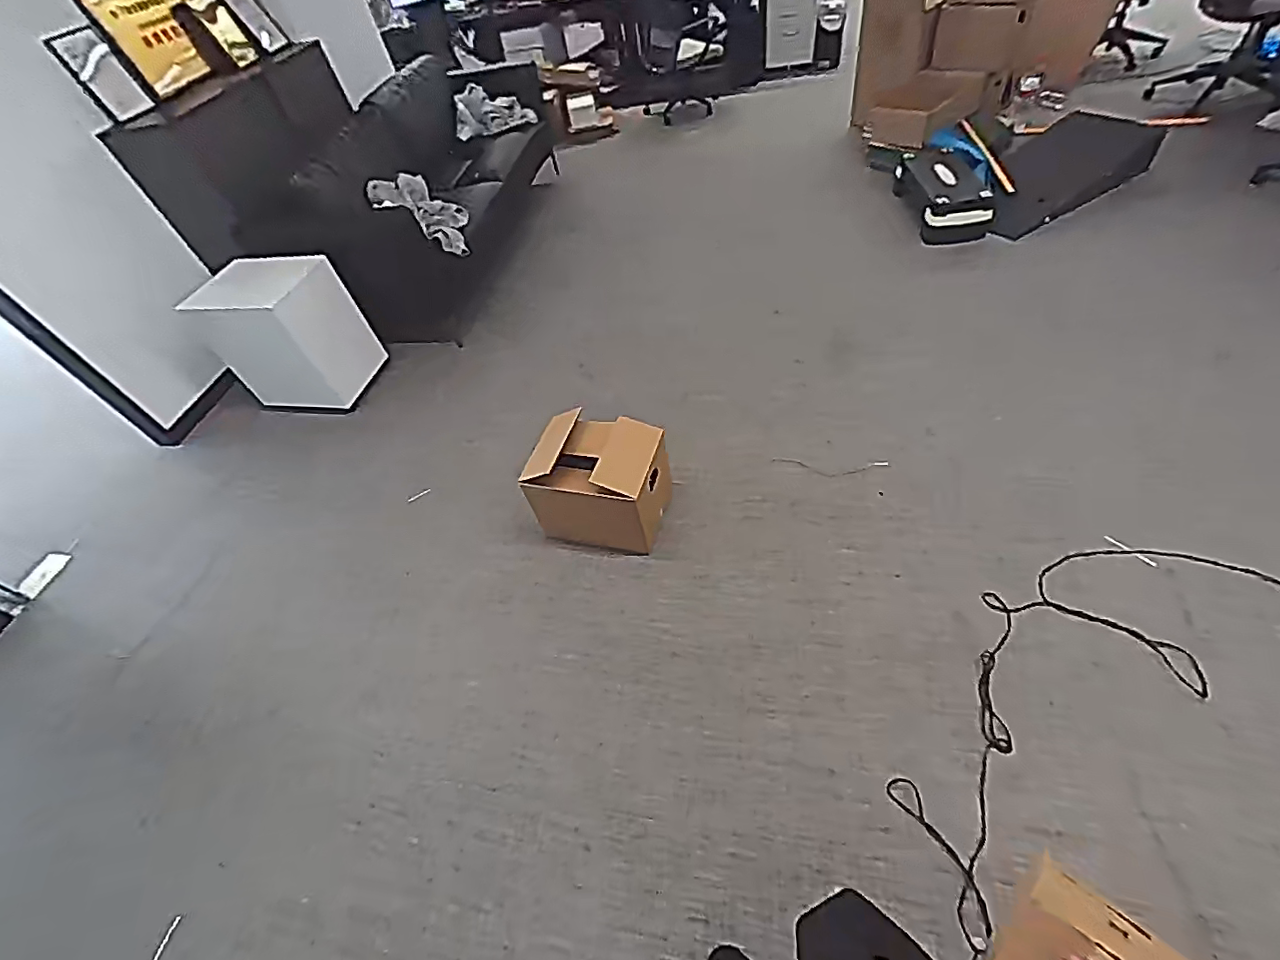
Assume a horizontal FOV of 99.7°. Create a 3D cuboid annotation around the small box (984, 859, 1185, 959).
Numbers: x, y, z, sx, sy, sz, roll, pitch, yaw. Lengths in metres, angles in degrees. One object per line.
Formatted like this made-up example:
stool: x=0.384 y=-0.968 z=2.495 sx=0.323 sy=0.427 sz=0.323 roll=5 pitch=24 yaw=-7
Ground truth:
small box: x=0.519 y=0.608 z=0.639 sx=0.168 sy=0.179 sz=0.176 roll=26 pitch=93 yaw=40
